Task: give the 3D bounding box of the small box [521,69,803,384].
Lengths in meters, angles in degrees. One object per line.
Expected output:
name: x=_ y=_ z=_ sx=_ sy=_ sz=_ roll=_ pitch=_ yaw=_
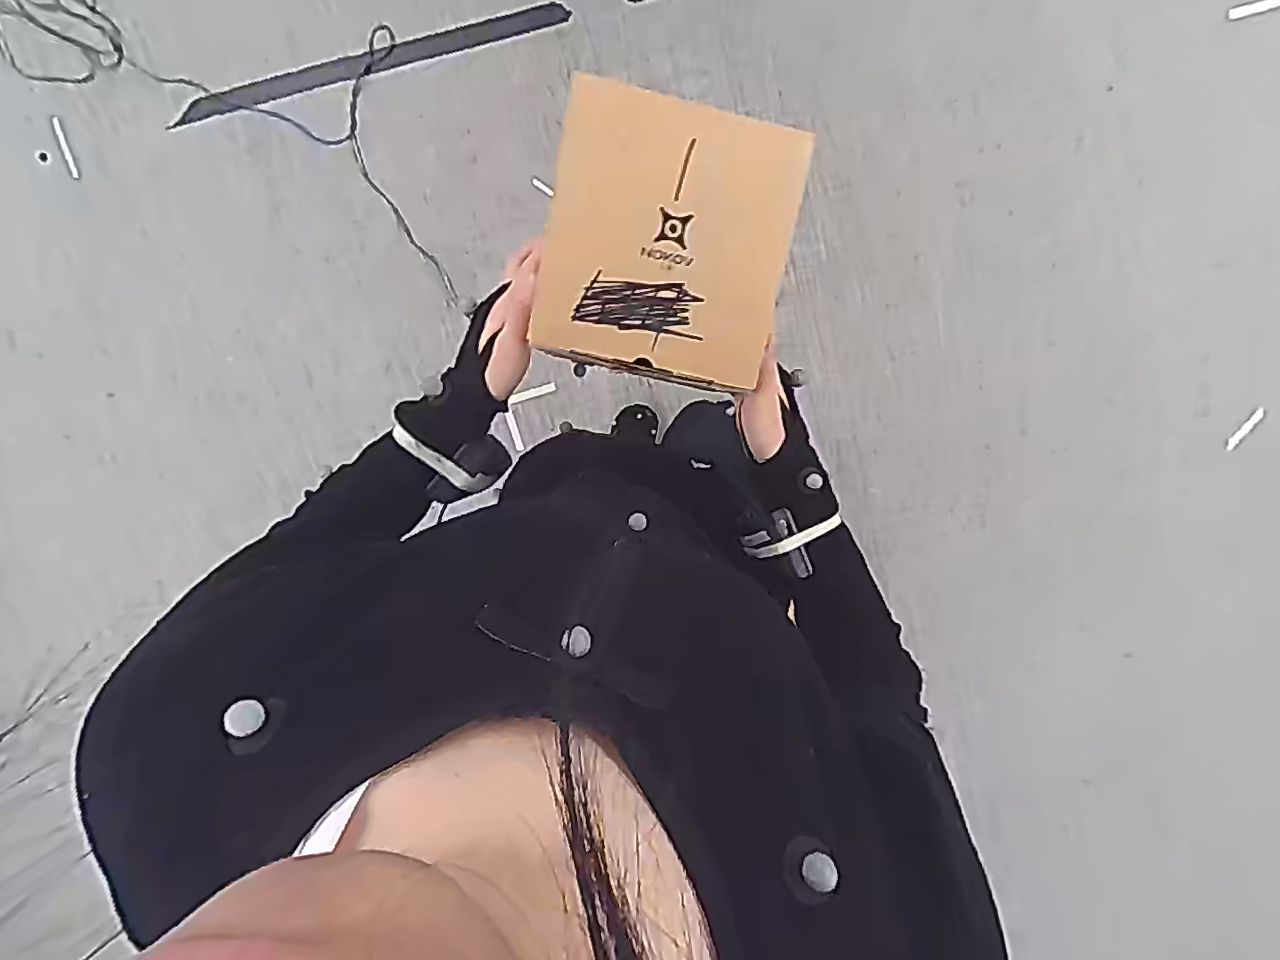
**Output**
small box: x=0.010 y=-0.179 z=0.444 sx=0.168 sy=0.176 sz=0.179 roll=10 pitch=98 yaw=-5
